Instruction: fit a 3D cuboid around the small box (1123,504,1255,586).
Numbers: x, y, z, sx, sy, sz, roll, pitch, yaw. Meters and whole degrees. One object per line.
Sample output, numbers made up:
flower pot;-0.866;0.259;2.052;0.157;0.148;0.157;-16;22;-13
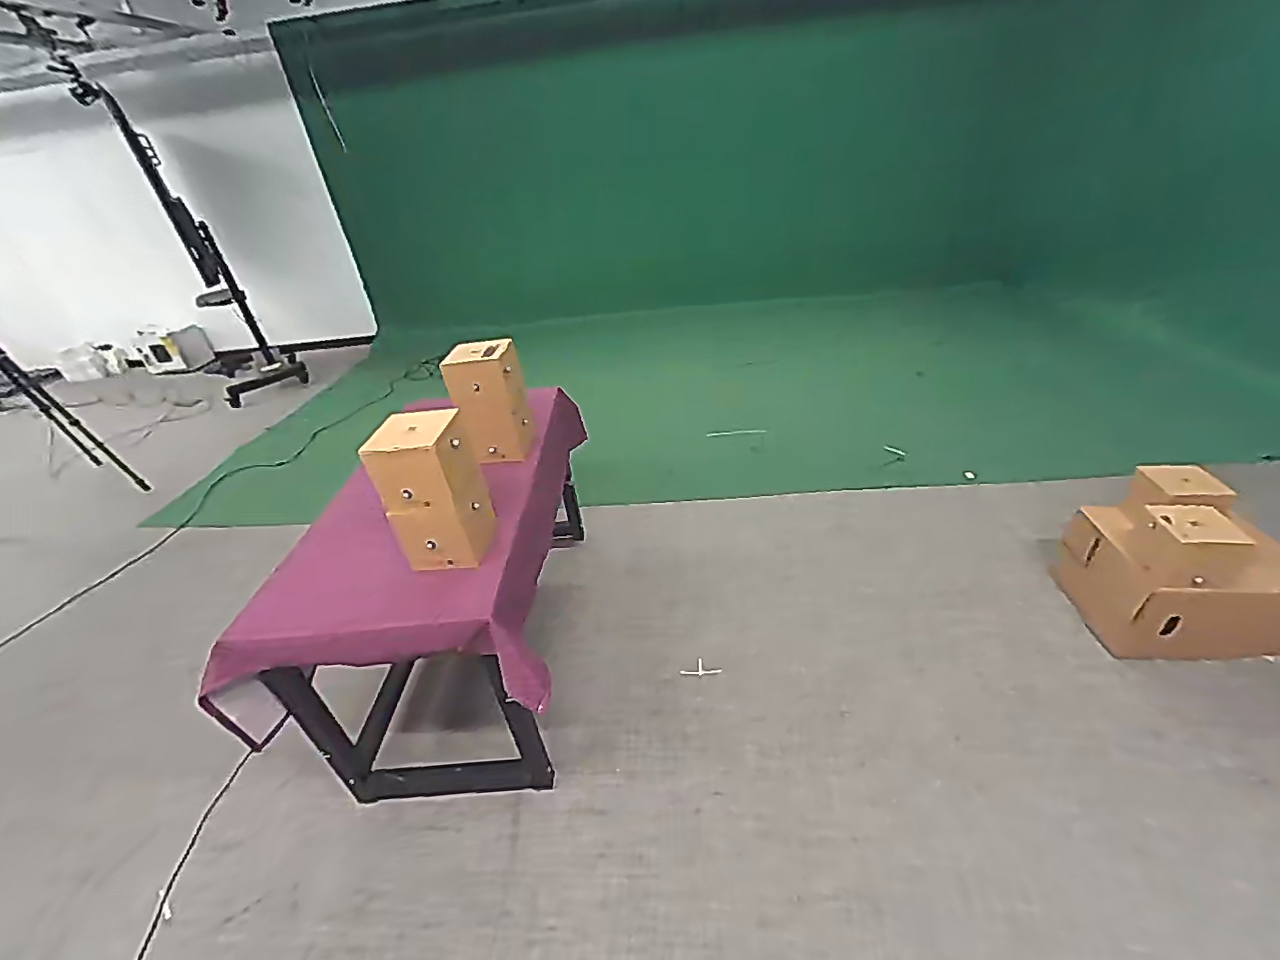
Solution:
small box;1.540;0.185;1.532;0.179;0.176;0.168;1;34;10

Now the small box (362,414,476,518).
small box;-0.487;-0.033;1.227;0.168;0.176;0.179;-5;34;6

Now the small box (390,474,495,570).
small box;-0.467;0.106;1.311;0.168;0.176;0.179;-4;33;6

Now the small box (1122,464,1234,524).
small box;1.672;0.065;1.700;0.179;0.176;0.168;0;33;7

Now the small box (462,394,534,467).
small box;-0.445;-0.158;1.719;0.168;0.176;0.179;-5;34;6
